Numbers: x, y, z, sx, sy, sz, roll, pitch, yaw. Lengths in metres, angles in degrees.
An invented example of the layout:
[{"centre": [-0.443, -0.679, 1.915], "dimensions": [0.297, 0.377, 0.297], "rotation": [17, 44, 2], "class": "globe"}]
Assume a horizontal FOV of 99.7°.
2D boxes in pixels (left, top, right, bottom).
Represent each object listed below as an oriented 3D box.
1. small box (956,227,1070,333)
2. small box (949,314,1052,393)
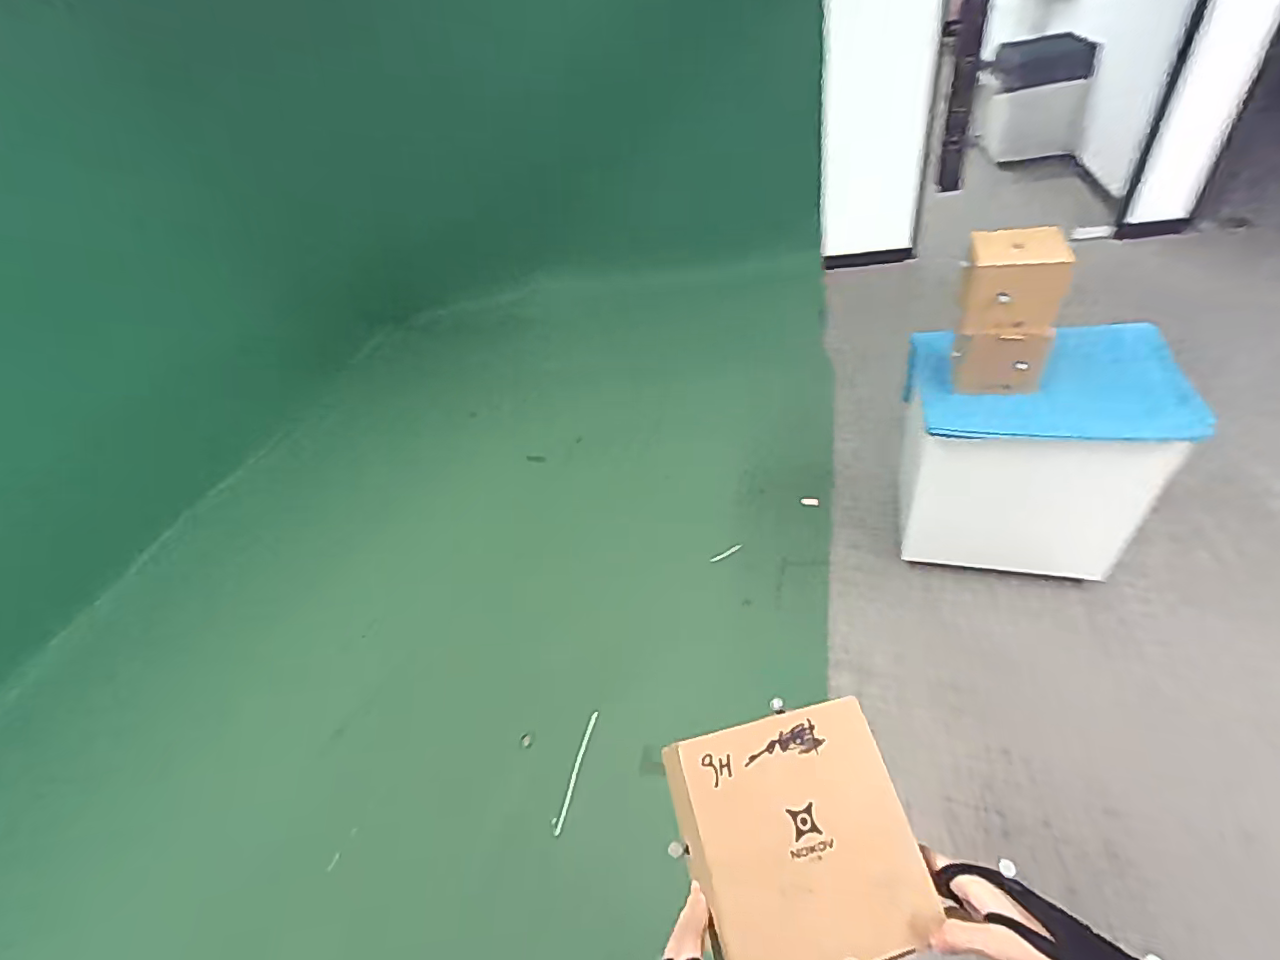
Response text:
[{"centre": [0.816, -0.438, 1.201], "dimensions": [0.168, 0.176, 0.179], "rotation": [5, 45, 20], "class": "small box"}, {"centre": [0.860, -0.323, 1.307], "dimensions": [0.168, 0.176, 0.179], "rotation": [4, 46, 19], "class": "small box"}]
